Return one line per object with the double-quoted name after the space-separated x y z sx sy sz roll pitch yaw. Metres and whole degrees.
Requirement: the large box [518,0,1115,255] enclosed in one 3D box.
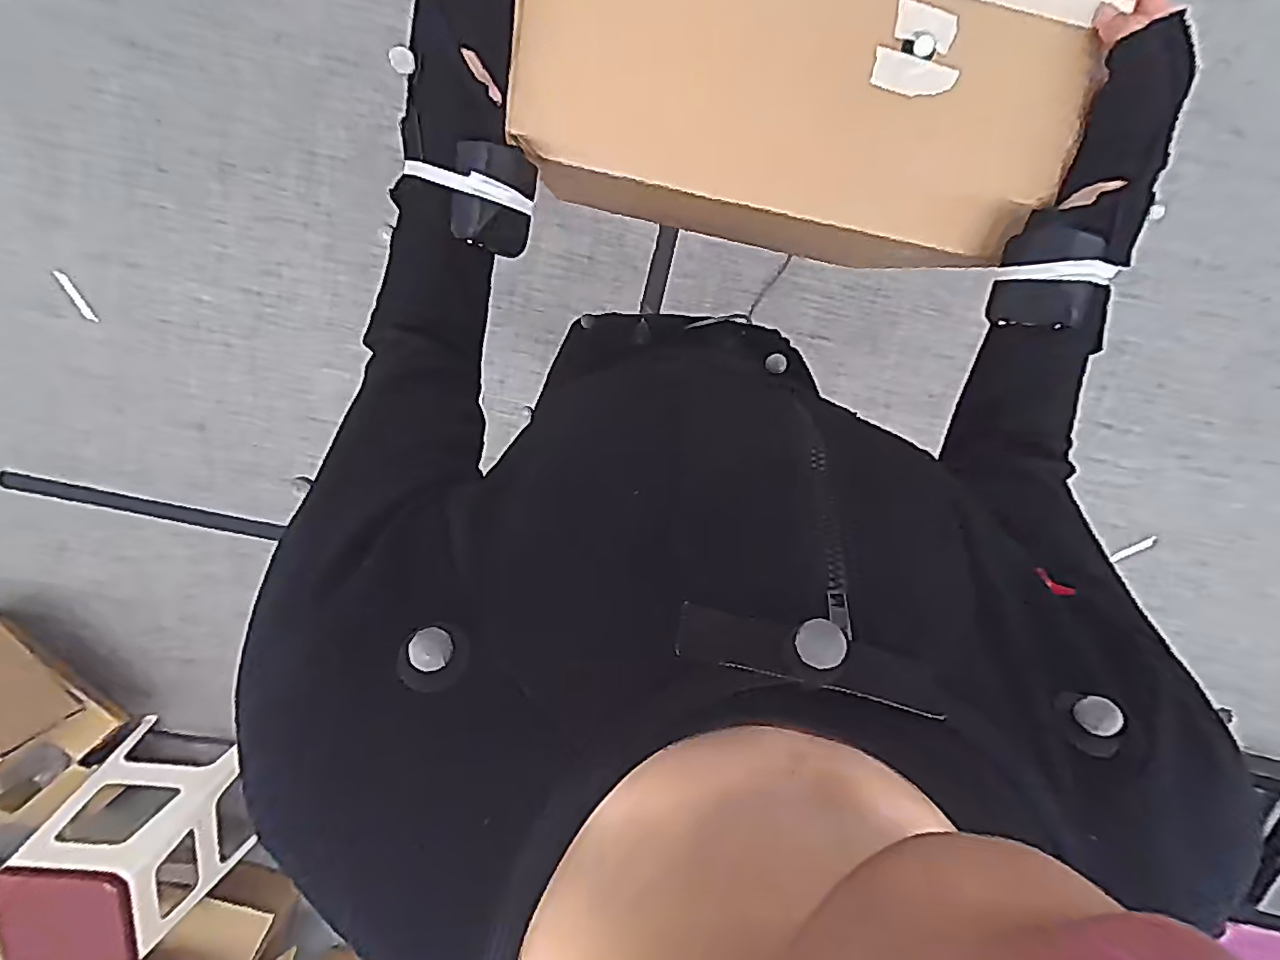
0.123 -0.407 0.495 0.408 0.320 0.320 9 112 -7 "large box"
